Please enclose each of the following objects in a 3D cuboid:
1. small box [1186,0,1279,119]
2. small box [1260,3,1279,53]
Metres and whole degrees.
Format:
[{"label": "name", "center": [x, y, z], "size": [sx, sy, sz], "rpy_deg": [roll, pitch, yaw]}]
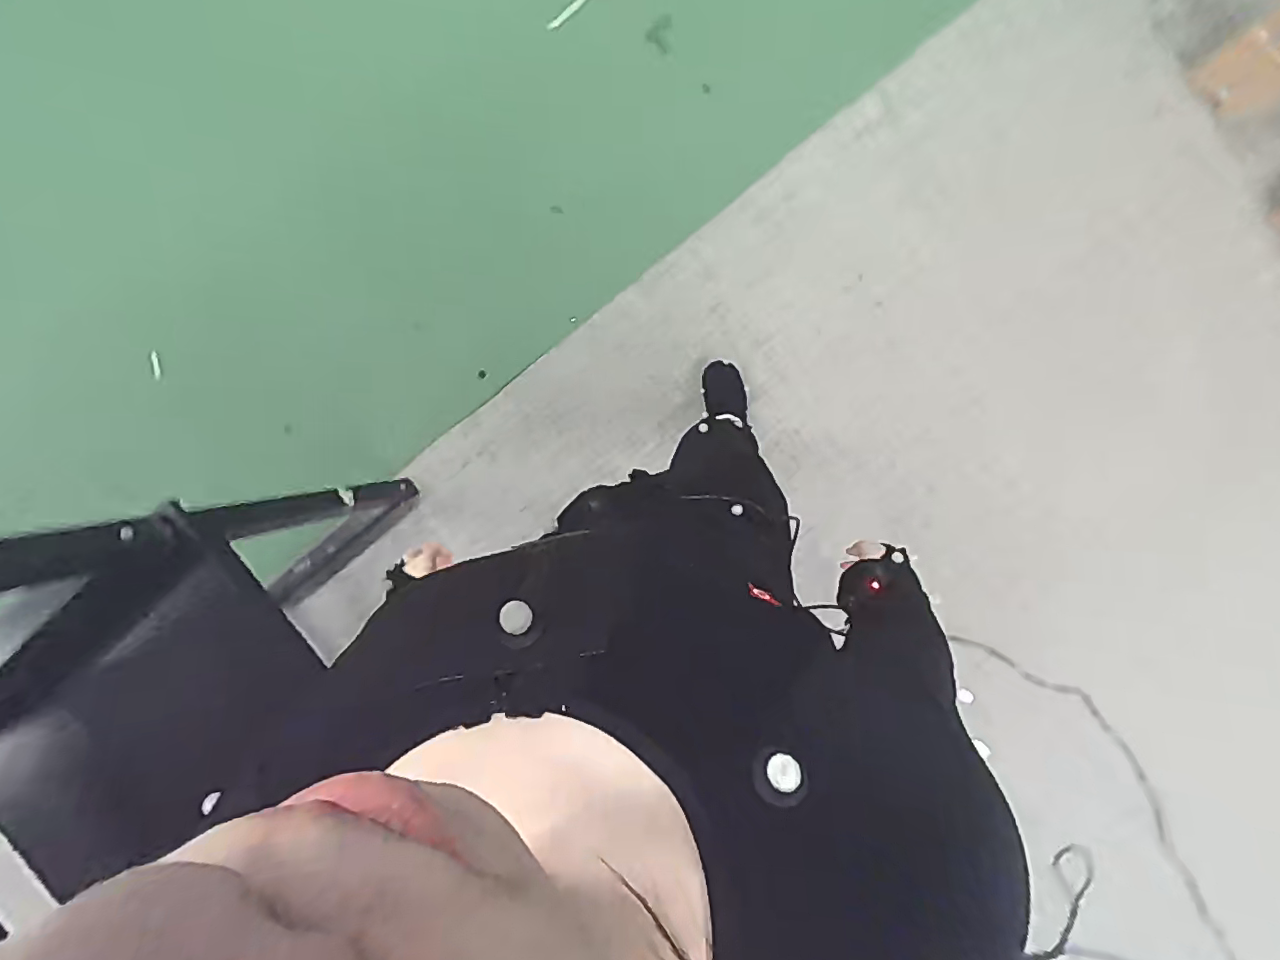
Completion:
[{"label": "small box", "center": [1.431, -0.983, 1.230], "size": [0.179, 0.176, 0.168], "rpy_deg": [-42, 91, 6]}, {"label": "small box", "center": [1.429, -0.967, 1.071], "size": [0.179, 0.176, 0.168], "rpy_deg": [-40, 89, 4]}]
